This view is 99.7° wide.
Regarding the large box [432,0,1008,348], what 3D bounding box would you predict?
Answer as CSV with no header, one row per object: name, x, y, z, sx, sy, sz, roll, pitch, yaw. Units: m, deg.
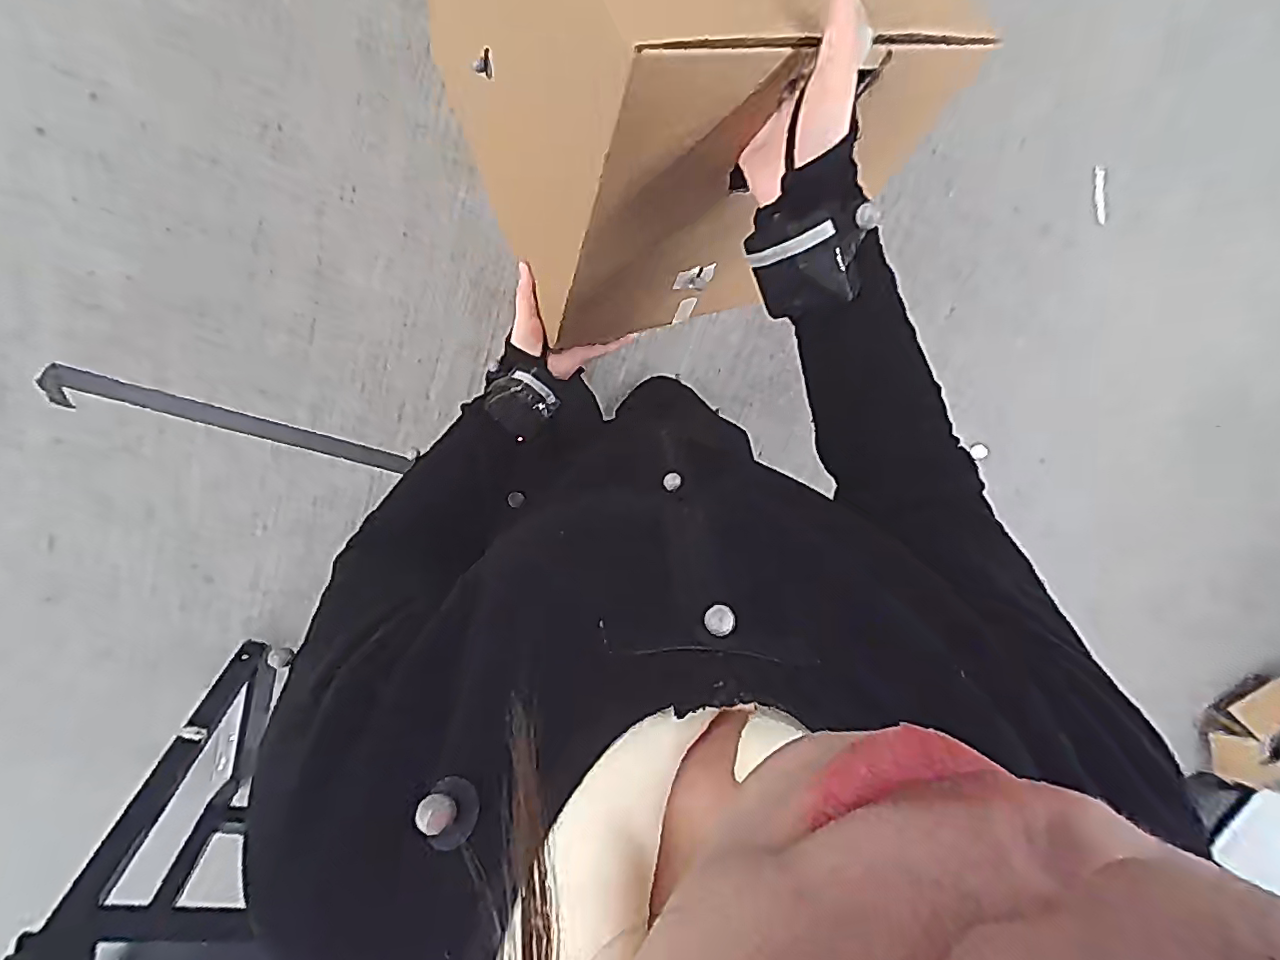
large box,0.015,-0.398,0.503,0.320,0.320,0.408,-19,78,-23
